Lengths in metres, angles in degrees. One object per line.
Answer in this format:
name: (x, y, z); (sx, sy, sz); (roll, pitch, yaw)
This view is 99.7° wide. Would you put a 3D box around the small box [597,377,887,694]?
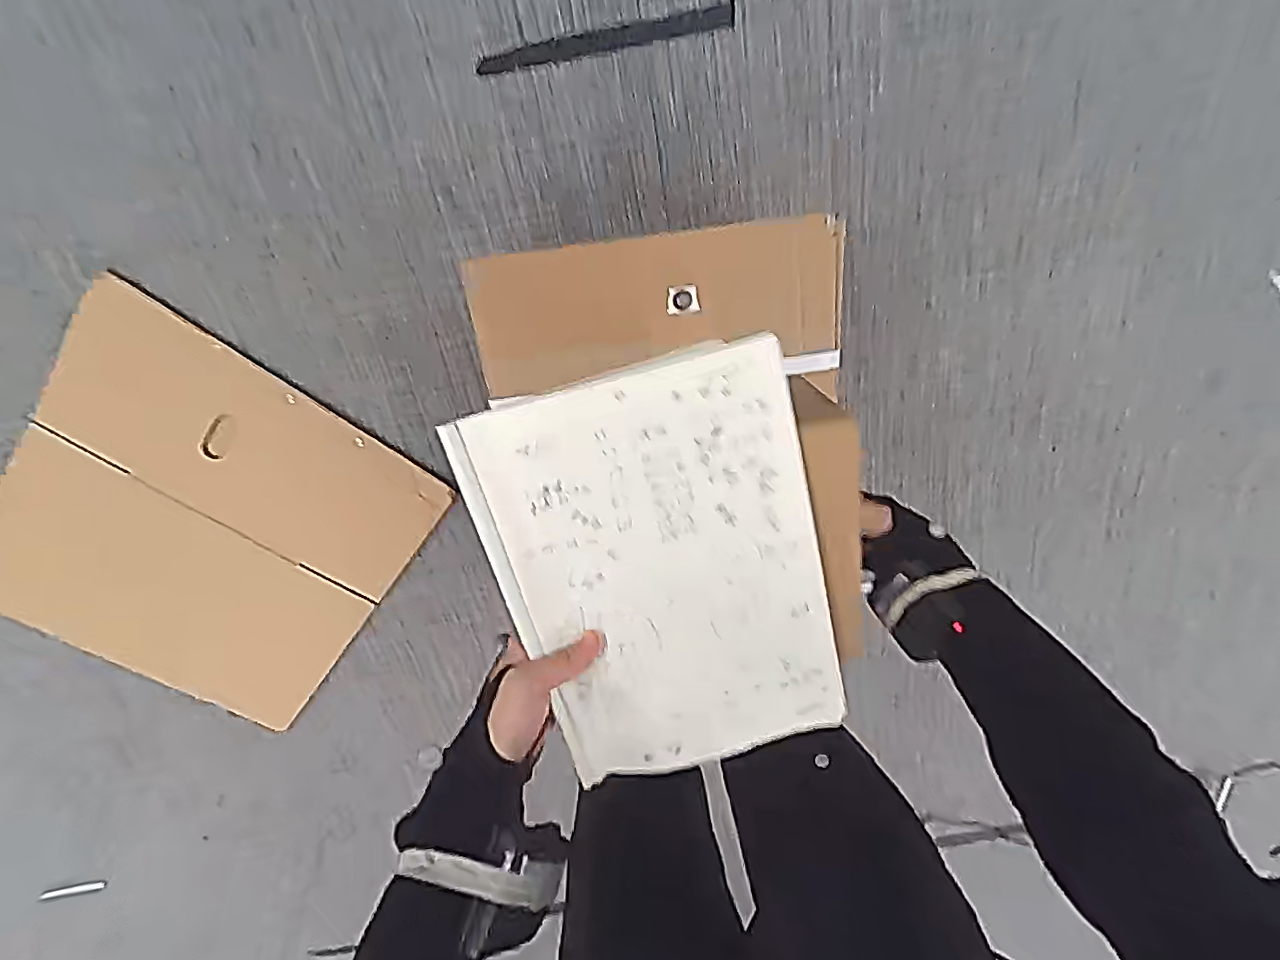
small box: (0.069, 0.031, 0.409); (0.168, 0.176, 0.179); (-6, 111, 4)
